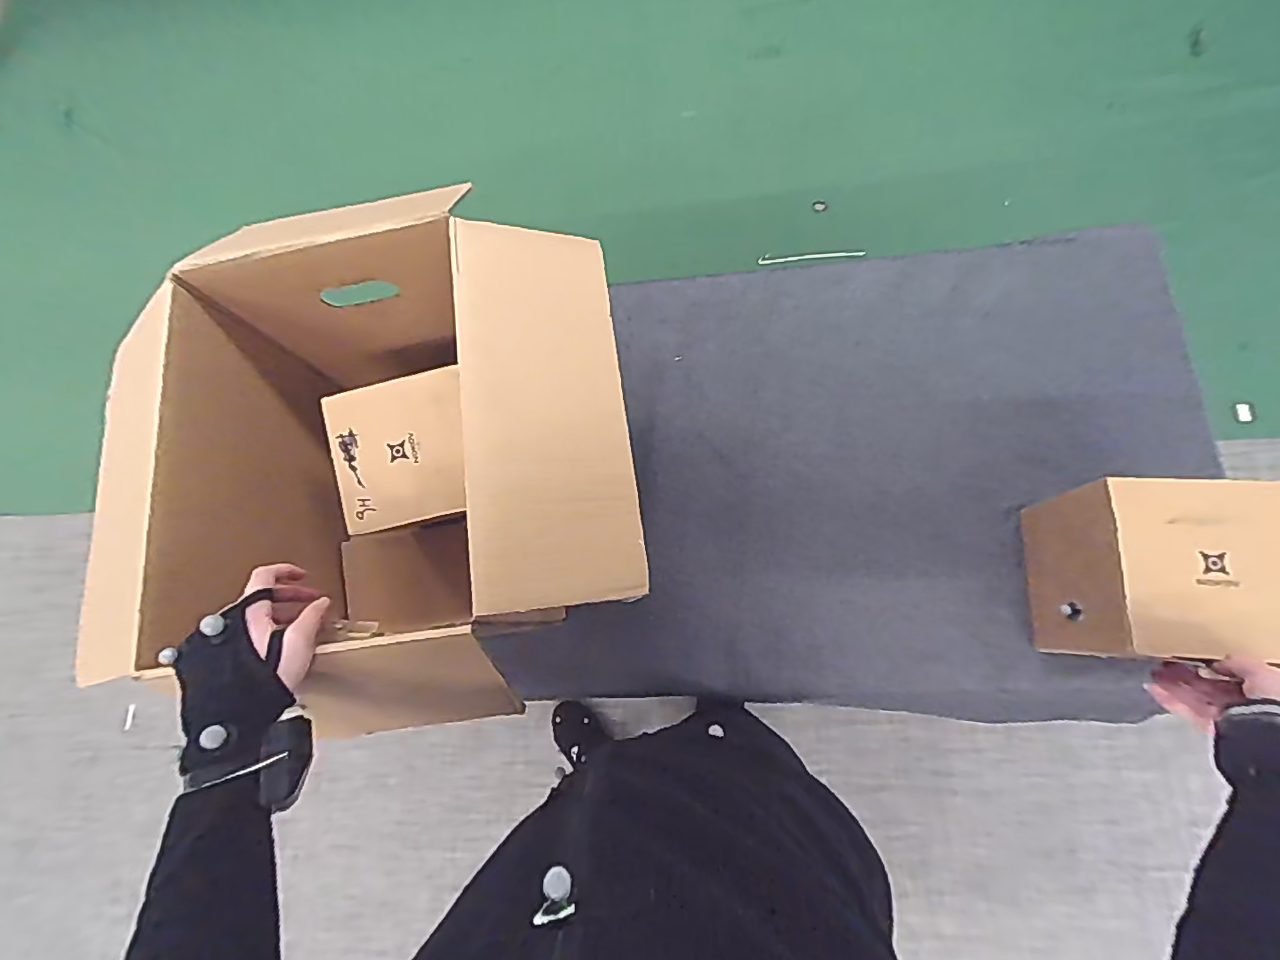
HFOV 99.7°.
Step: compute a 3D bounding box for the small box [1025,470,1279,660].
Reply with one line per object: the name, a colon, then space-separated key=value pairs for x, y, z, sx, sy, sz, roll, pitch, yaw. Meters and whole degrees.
small box: x=0.561 y=0.097 z=0.592 sx=0.168 sy=0.176 sz=0.179 roll=2 pitch=75 yaw=8
